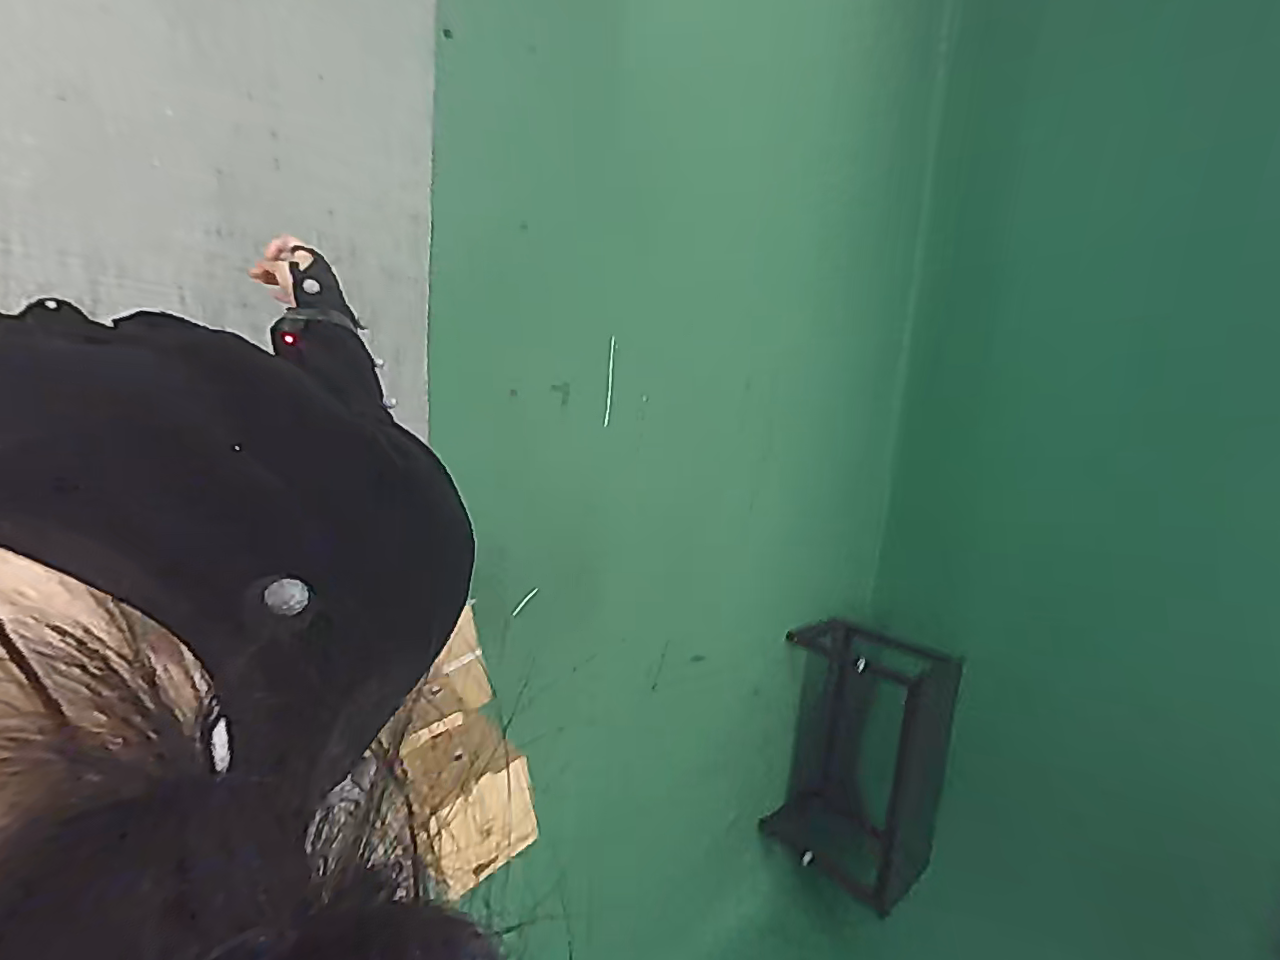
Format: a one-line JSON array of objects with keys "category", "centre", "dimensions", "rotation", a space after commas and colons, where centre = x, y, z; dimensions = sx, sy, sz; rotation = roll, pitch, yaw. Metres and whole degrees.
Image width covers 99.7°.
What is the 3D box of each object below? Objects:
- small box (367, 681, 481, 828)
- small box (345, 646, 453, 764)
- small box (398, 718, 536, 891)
[{"category": "small box", "centre": [-0.421, 0.524, 1.070], "dimensions": [0.168, 0.176, 0.179], "rotation": [-14, 107, -40]}, {"category": "small box", "centre": [-0.524, 0.494, 1.194], "dimensions": [0.179, 0.176, 0.168], "rotation": [-16, 108, -40]}, {"category": "small box", "centre": [-0.307, 0.550, 0.954], "dimensions": [0.168, 0.176, 0.179], "rotation": [-16, 107, -40]}]
